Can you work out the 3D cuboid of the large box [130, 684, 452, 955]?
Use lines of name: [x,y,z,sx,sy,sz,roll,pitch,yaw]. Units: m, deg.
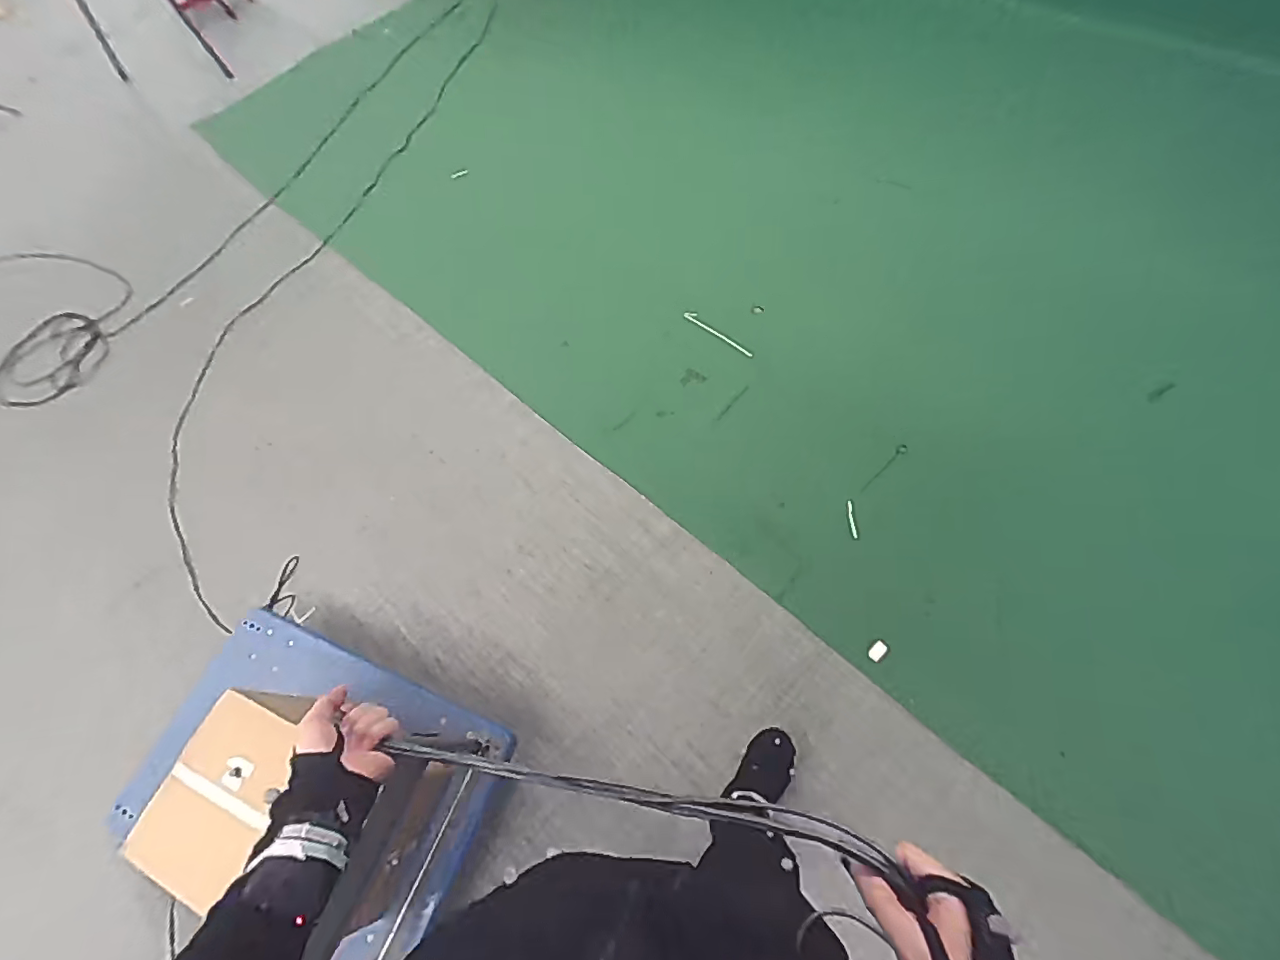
large box: [-0.688,0.667,1.132,0.408,0.320,0.320,18,67,17]
